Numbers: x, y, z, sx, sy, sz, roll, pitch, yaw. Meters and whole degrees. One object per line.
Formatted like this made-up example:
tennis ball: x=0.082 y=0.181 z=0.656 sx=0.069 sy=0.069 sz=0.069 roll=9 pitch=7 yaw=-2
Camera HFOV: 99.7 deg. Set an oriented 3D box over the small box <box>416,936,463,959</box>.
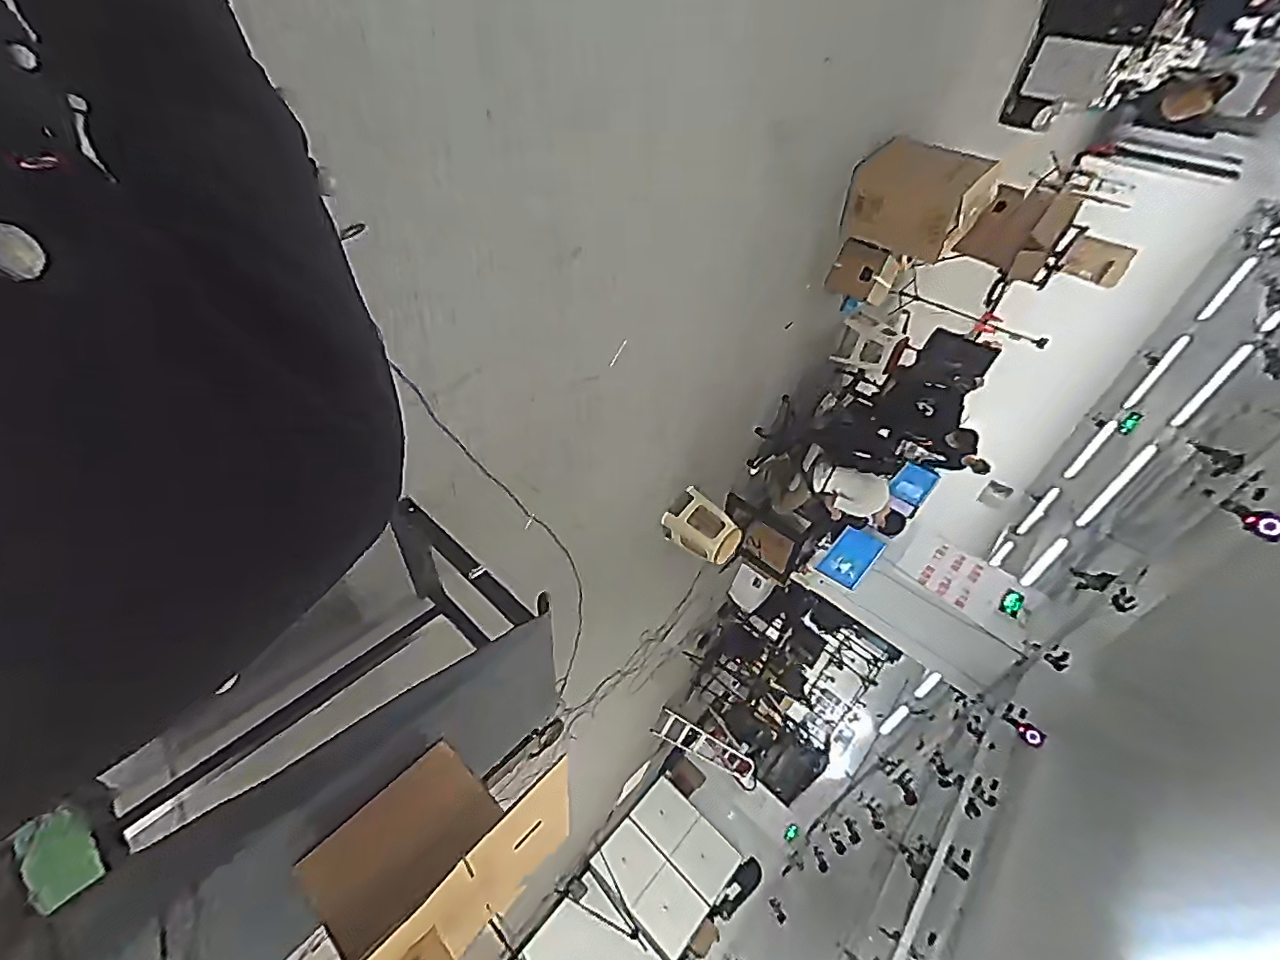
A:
small box: x=-0.435 y=1.124 z=1.147 sx=0.168 sy=0.176 sz=0.179 roll=-33 pitch=143 yaw=-35
